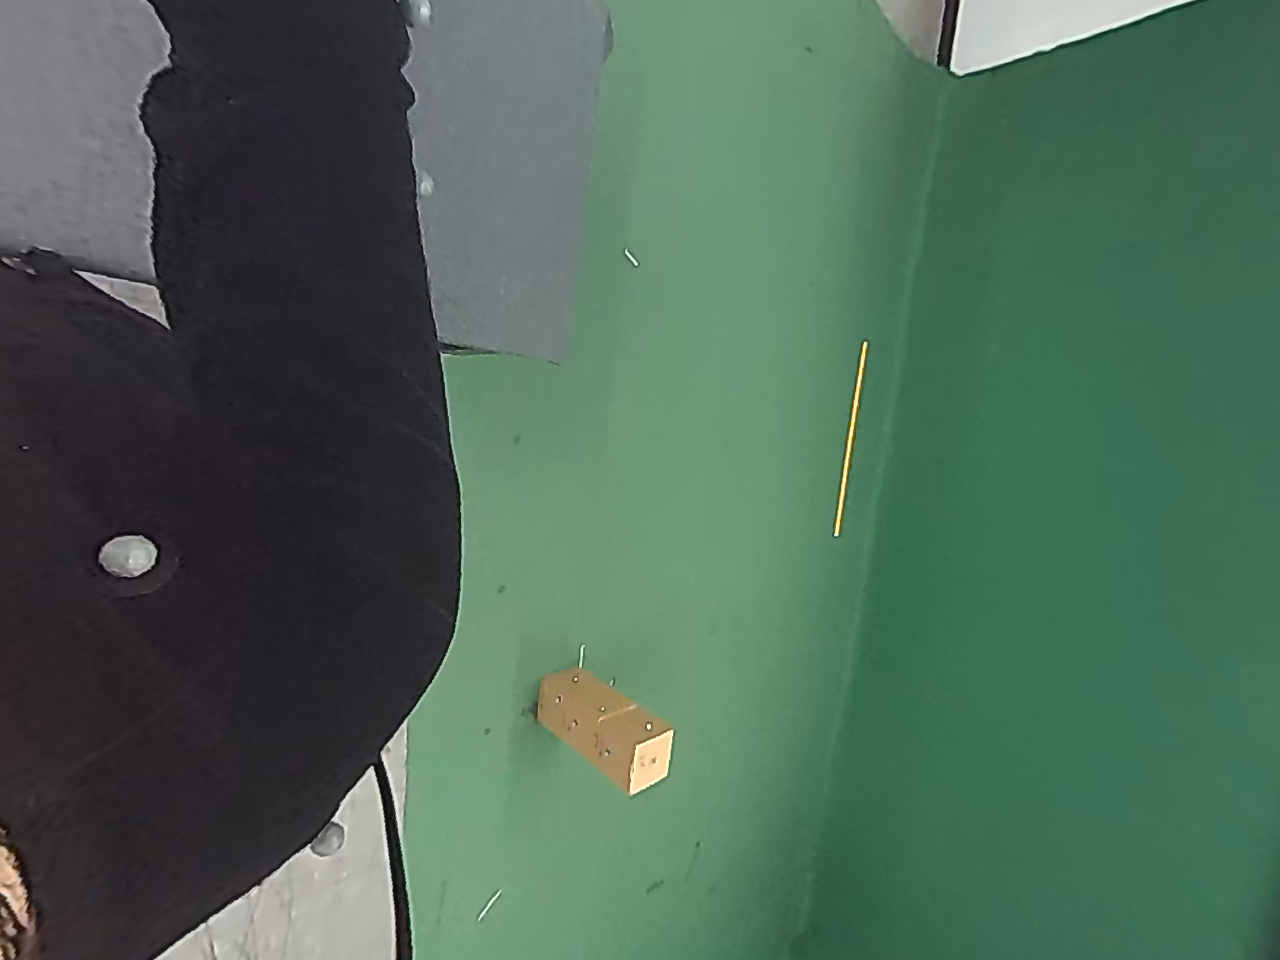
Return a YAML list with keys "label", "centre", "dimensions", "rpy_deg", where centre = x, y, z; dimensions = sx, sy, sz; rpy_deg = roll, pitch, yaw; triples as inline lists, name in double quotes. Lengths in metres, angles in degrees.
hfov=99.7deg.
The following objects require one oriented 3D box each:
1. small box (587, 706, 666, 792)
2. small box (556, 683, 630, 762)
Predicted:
- label: "small box"
  centre: [-0.045, 0.859, 1.748]
  dimensions: [0.179, 0.176, 0.168]
  rpy_deg: [3, 97, -45]
- label: "small box"
  centre: [-0.162, 0.825, 1.860]
  dimensions: [0.179, 0.176, 0.168]
  rpy_deg: [1, 99, -45]
